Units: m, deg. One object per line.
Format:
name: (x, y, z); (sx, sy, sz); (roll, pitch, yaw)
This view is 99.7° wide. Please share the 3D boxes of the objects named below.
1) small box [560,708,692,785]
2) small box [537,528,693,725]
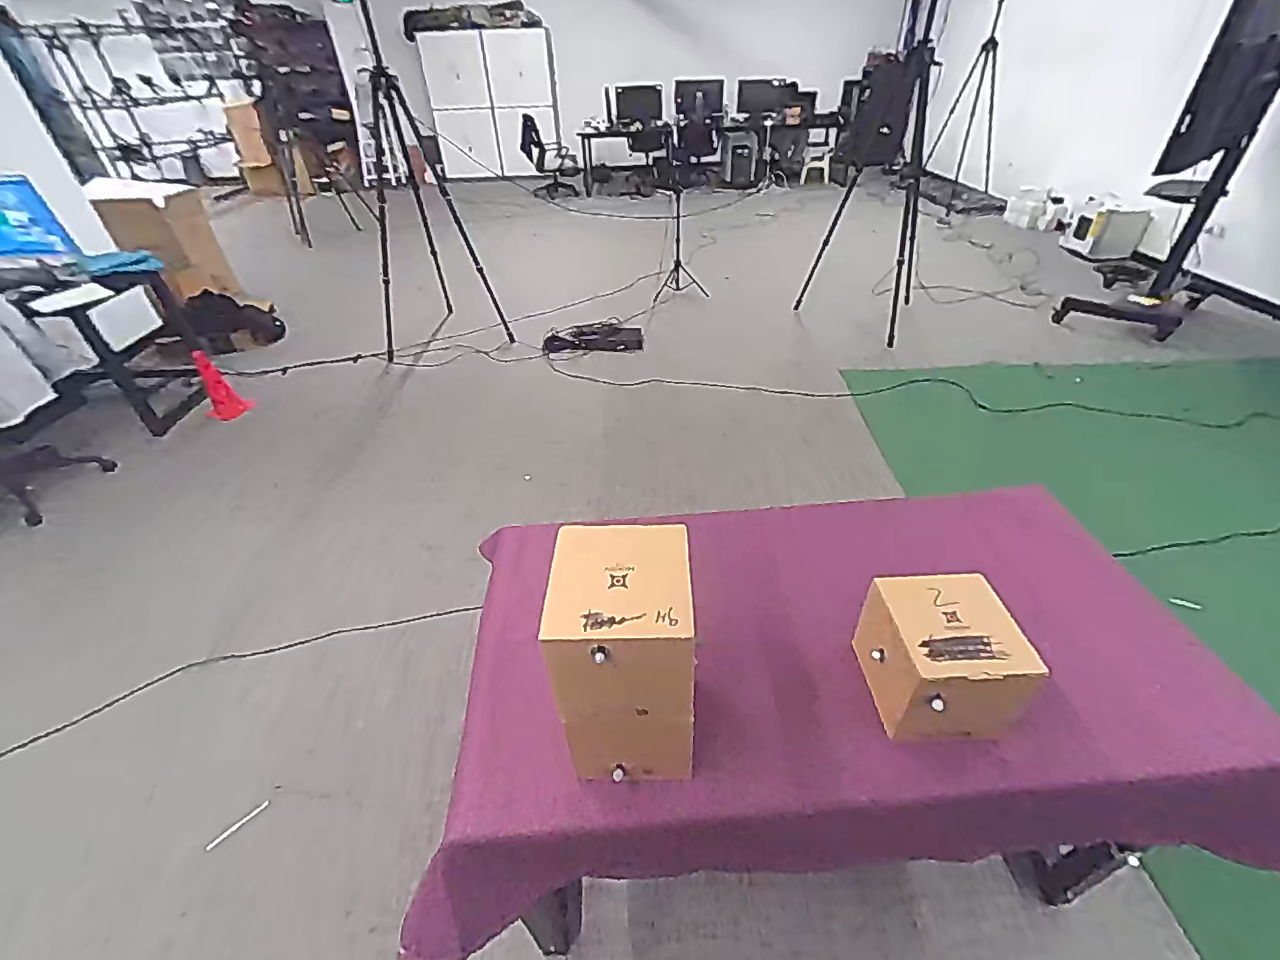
small box: (-0.013, 0.310, 0.779); (0.168, 0.176, 0.179); (-2, 38, 3)
small box: (-0.021, 0.180, 0.677); (0.168, 0.176, 0.179); (-3, 37, 3)
